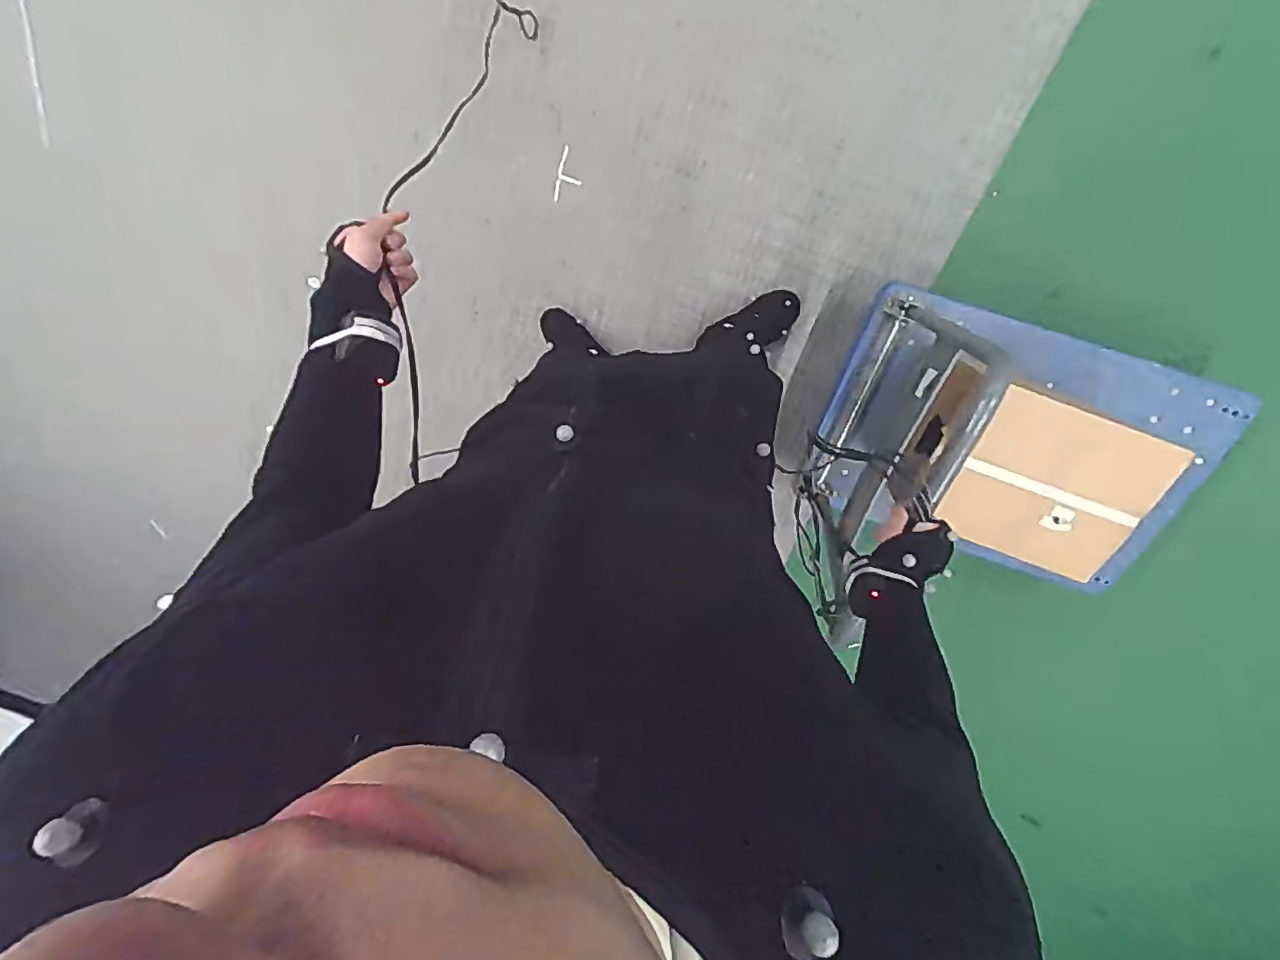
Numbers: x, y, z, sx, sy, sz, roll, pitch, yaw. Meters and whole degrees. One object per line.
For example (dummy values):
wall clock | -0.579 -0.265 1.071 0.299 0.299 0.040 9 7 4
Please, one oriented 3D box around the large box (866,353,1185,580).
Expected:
large box | 0.783 -0.047 1.182 0.408 0.320 0.320 21 116 -1
